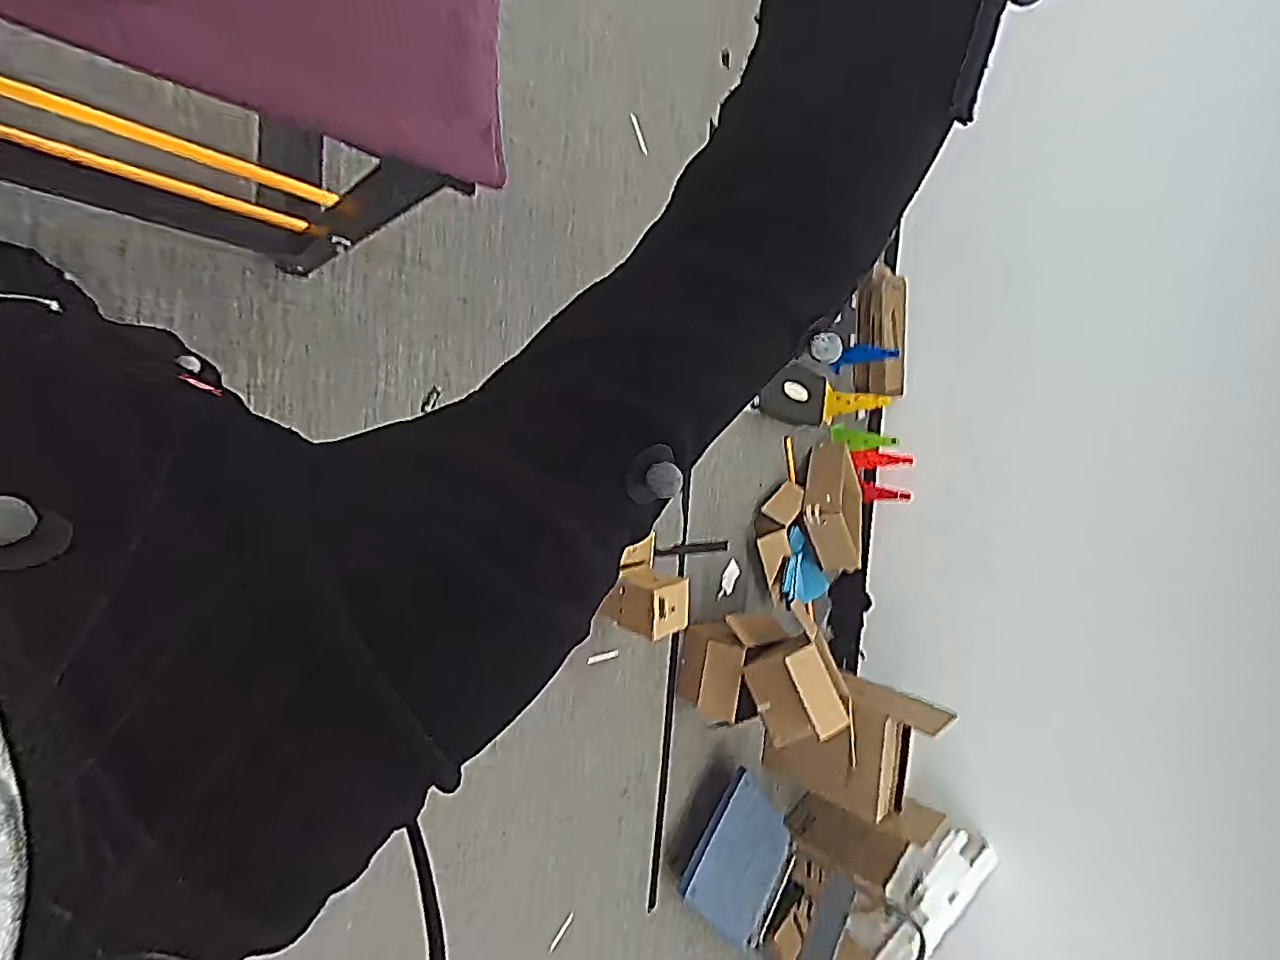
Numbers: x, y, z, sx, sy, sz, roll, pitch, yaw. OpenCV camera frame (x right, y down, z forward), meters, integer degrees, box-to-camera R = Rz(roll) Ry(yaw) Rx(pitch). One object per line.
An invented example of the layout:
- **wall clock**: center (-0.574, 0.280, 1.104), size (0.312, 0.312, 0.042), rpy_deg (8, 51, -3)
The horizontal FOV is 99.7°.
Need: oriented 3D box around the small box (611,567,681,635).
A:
- **small box**: center (0.016, 0.397, 1.803), size (0.179, 0.176, 0.168), rpy_deg (-6, 100, -47)
